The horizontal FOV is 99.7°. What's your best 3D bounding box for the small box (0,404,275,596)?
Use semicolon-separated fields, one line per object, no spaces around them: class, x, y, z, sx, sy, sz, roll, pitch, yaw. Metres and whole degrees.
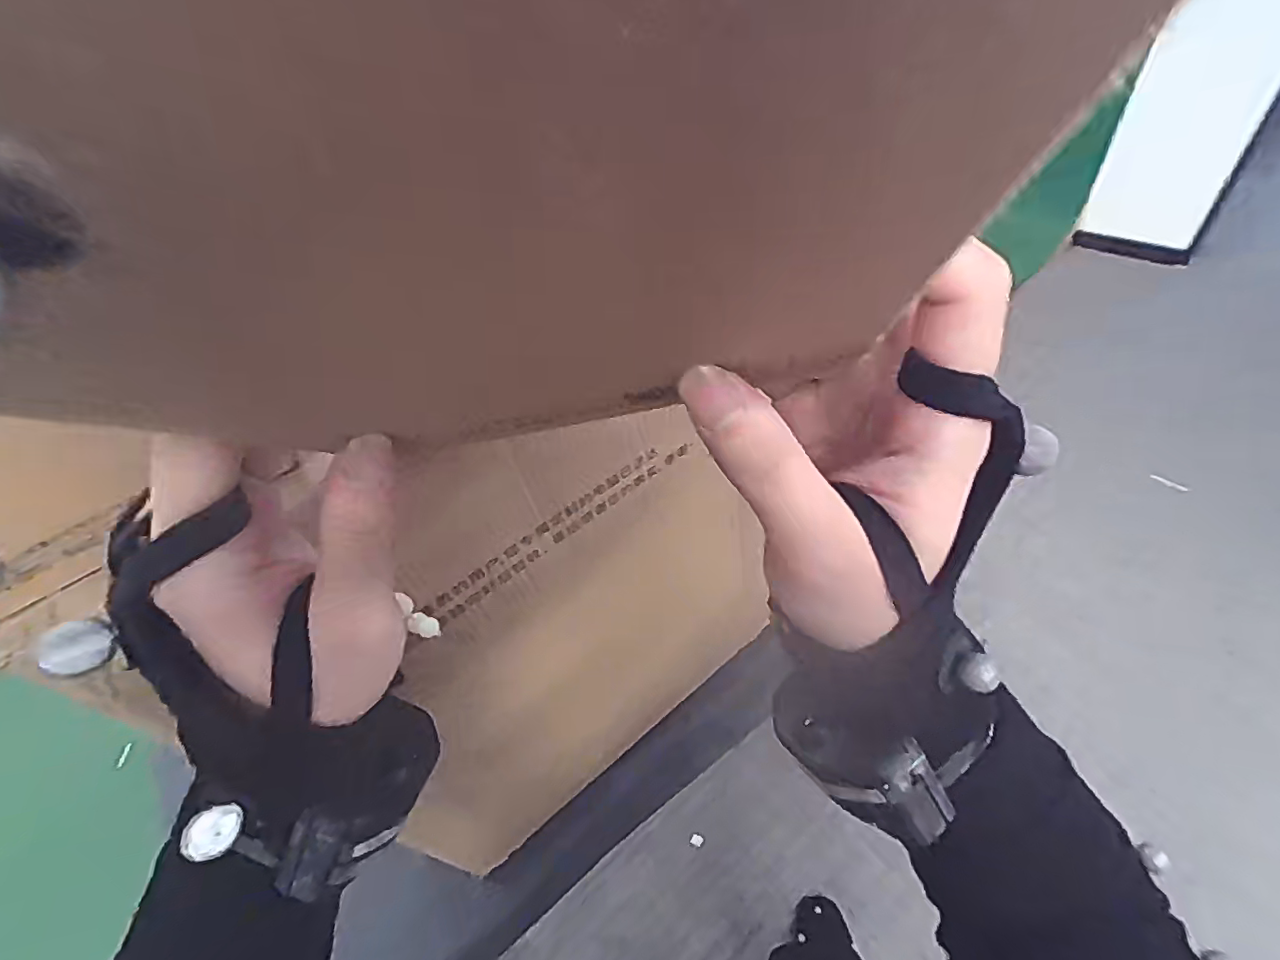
small box;-0.323;-0.063;0.276;0.168;0.176;0.179;-33;48;-16

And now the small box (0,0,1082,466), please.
small box;-0.051;-0.105;0.102;0.168;0.176;0.179;-10;86;9
